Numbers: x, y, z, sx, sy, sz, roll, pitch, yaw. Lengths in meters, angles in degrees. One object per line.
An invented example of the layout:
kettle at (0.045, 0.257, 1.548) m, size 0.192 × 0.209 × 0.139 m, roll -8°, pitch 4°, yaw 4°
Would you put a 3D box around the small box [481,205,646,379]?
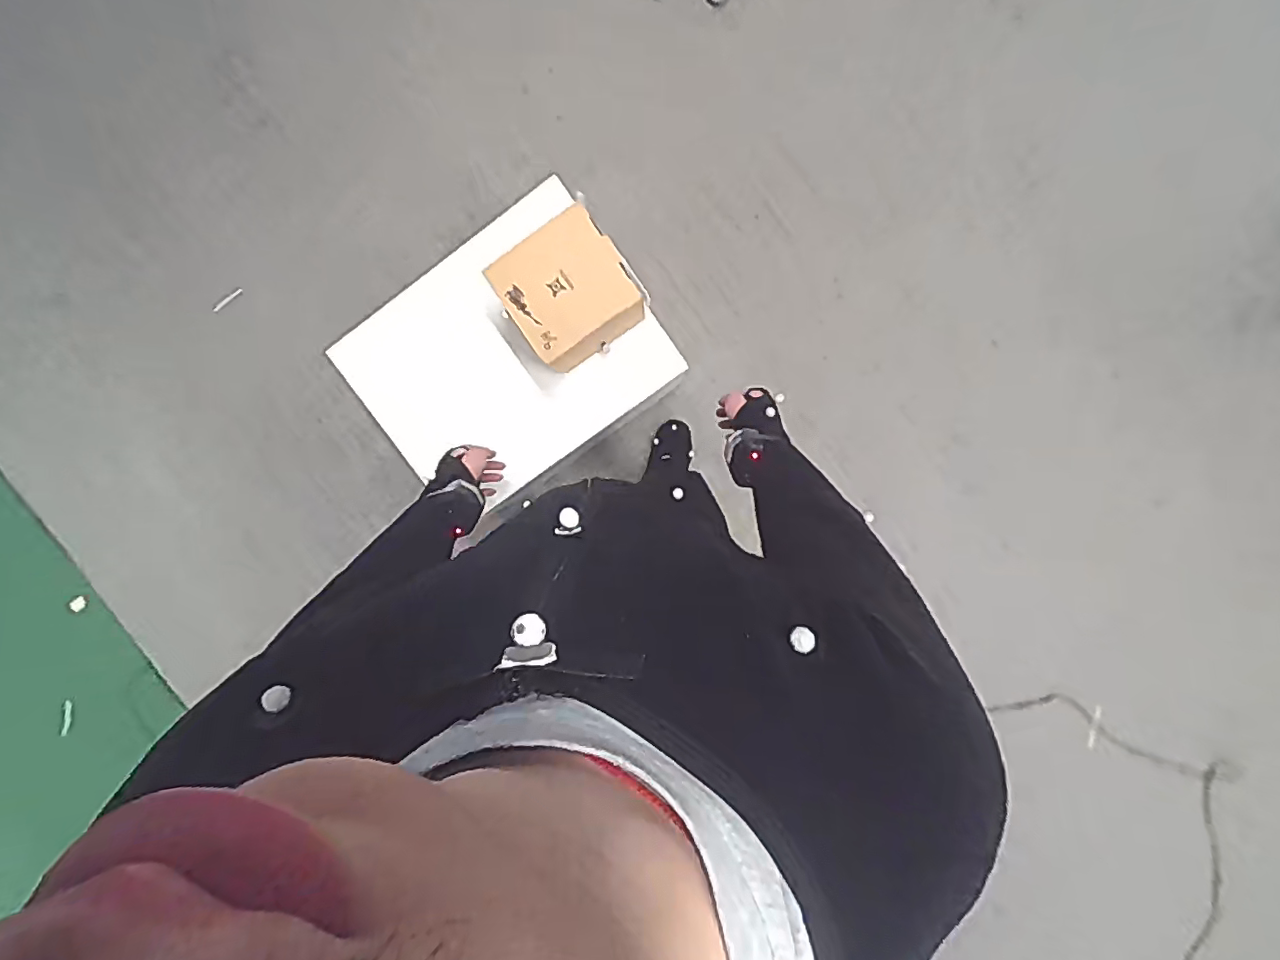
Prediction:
small box at (-0.109, -0.274, 0.832) m, size 0.179 × 0.176 × 0.168 m, roll -35°, pitch 94°, yaw 2°
